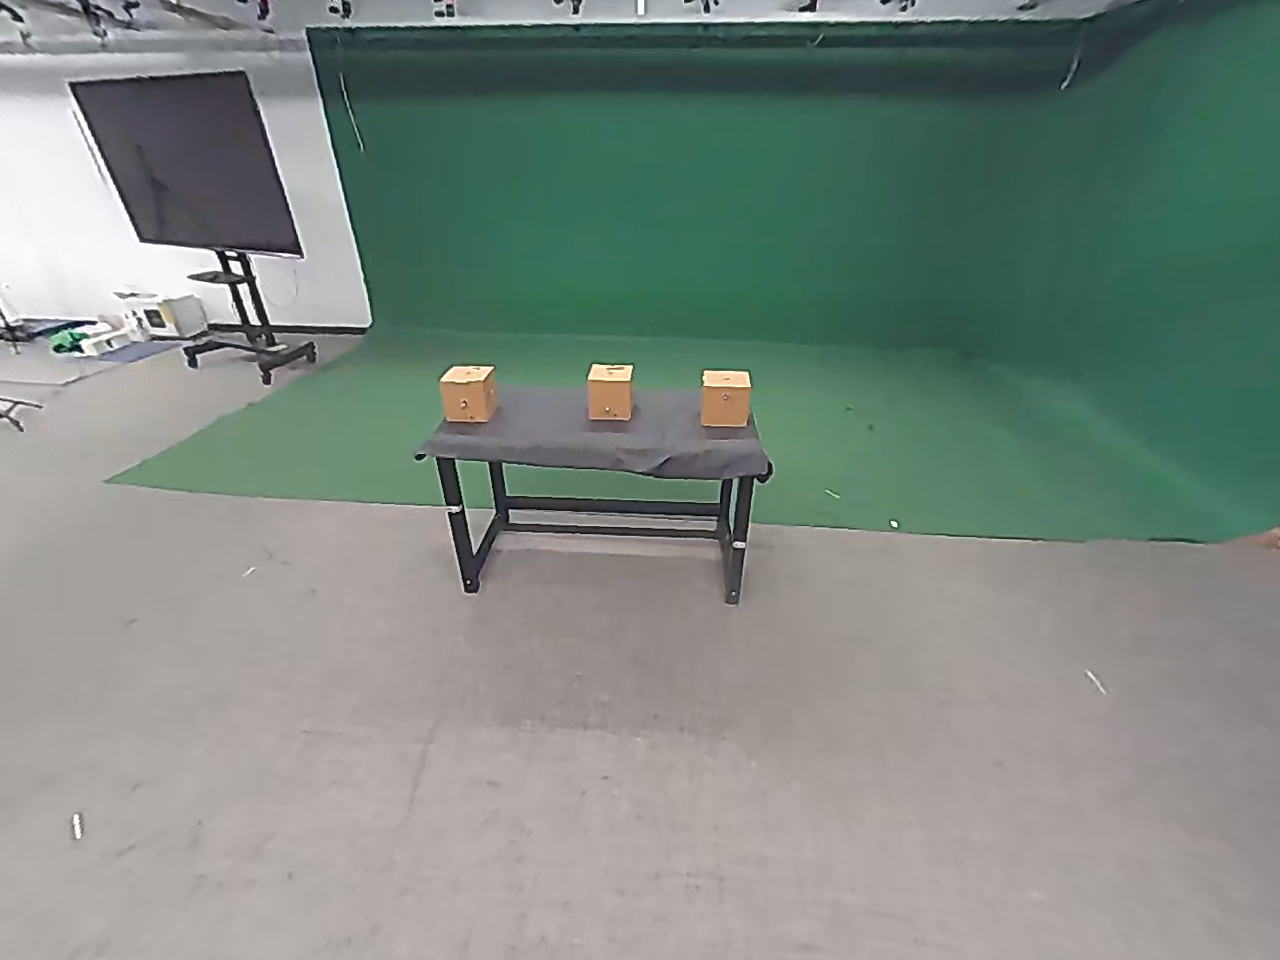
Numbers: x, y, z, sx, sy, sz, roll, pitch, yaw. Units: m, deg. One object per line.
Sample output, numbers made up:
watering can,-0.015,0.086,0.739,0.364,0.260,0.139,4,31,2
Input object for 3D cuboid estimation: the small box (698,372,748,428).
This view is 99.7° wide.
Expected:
small box,0.321,-0.313,2.120,0.179,0.176,0.168,4,32,3

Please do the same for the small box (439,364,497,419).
small box,-0.672,-0.348,2.136,0.168,0.176,0.179,2,31,0

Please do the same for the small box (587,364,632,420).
small box,-0.121,-0.355,2.170,0.168,0.176,0.179,2,32,2
